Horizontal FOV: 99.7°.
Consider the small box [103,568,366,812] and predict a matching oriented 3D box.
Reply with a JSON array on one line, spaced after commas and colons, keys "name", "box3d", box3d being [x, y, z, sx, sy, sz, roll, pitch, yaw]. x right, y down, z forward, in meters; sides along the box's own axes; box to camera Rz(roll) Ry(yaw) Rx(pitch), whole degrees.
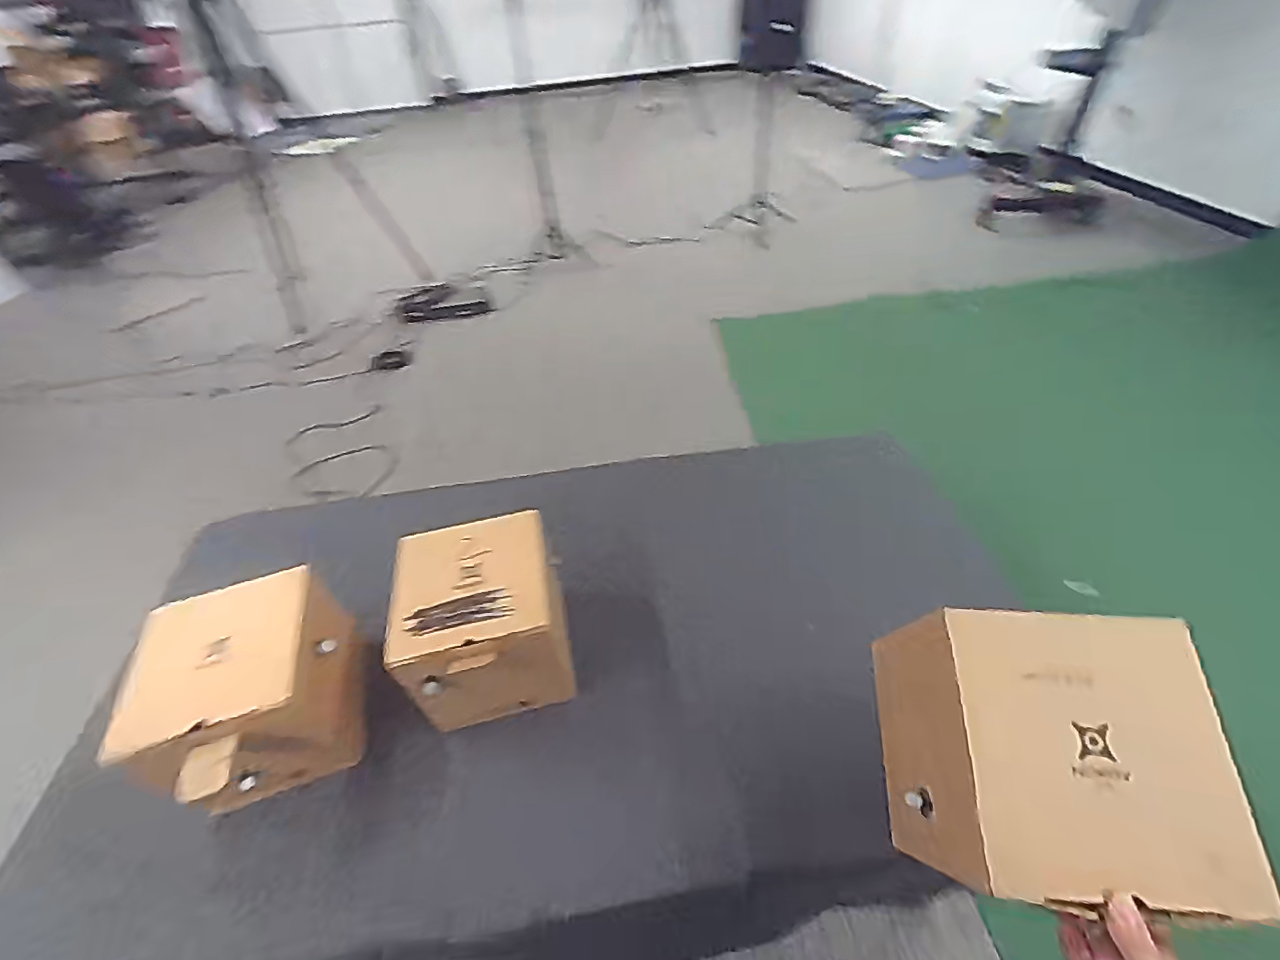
[{"name": "small box", "box3d": [-0.431, 0.236, 0.615, 0.168, 0.176, 0.179, -17, 46, -12]}]

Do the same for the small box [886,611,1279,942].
[{"name": "small box", "box3d": [0.307, 0.210, 0.418, 0.168, 0.176, 0.179, 3, 65, 6]}]
